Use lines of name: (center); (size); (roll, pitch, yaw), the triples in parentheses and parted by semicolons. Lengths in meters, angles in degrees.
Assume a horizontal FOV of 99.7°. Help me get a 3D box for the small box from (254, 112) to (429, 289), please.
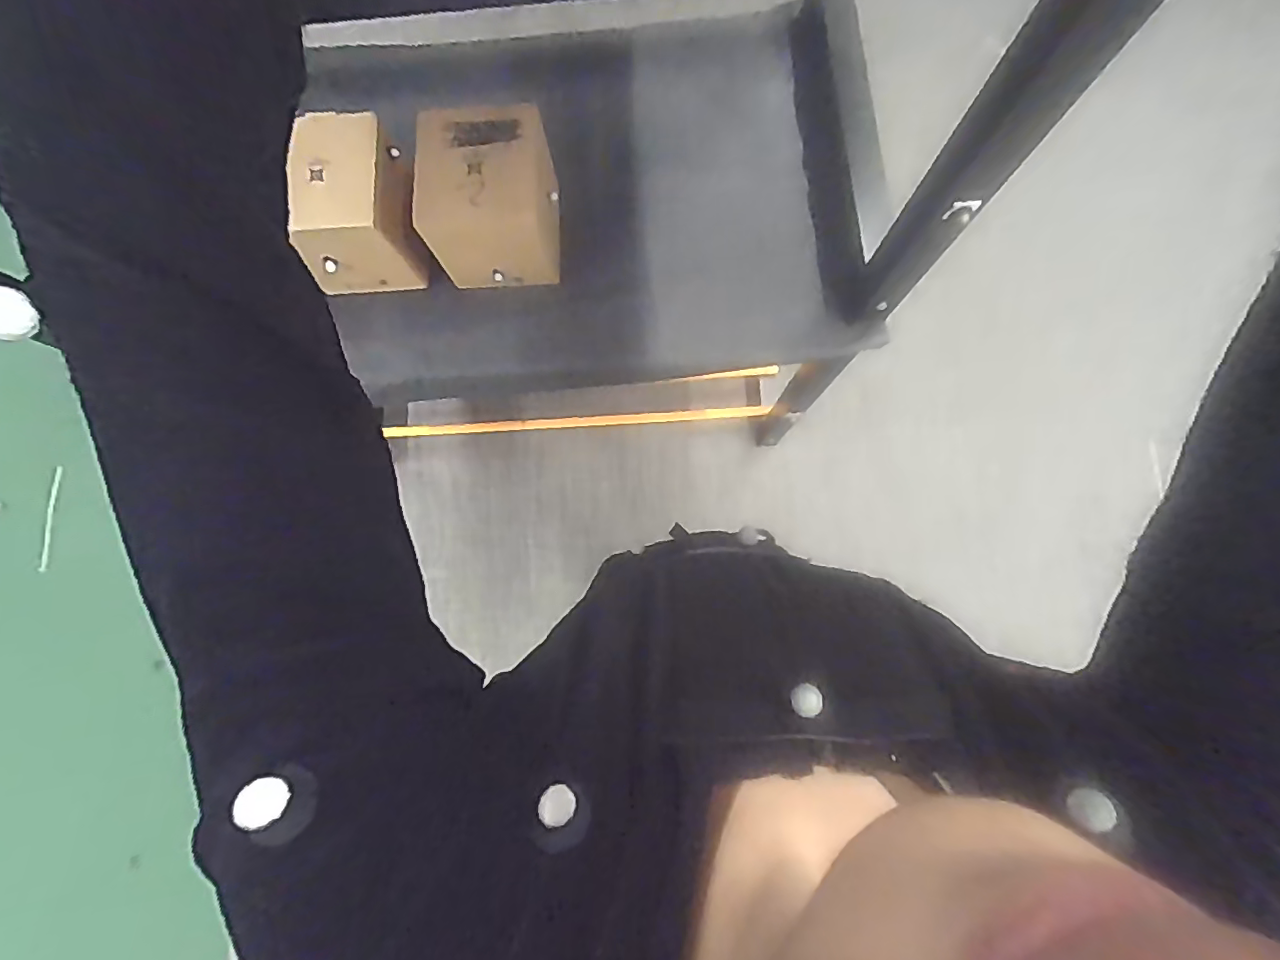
small box: (-0.428, -0.399, 0.803); (0.168, 0.176, 0.179); (-3, 79, 1)
